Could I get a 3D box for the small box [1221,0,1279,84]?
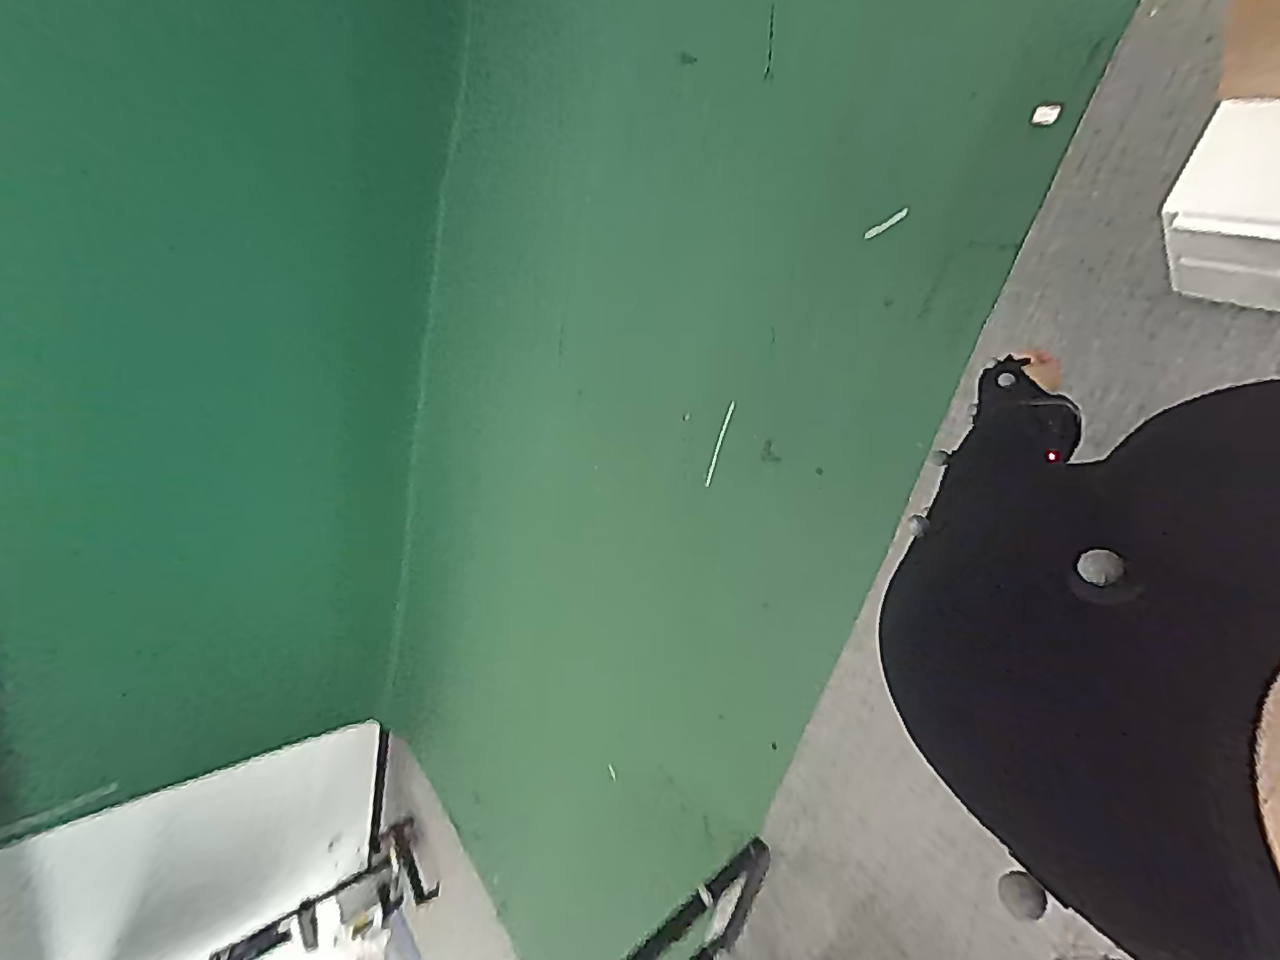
[{"bbox_3d":[0.689,-0.489,0.491,0.179,0.176,0.168,31,115,37],"label":"small box"}]
